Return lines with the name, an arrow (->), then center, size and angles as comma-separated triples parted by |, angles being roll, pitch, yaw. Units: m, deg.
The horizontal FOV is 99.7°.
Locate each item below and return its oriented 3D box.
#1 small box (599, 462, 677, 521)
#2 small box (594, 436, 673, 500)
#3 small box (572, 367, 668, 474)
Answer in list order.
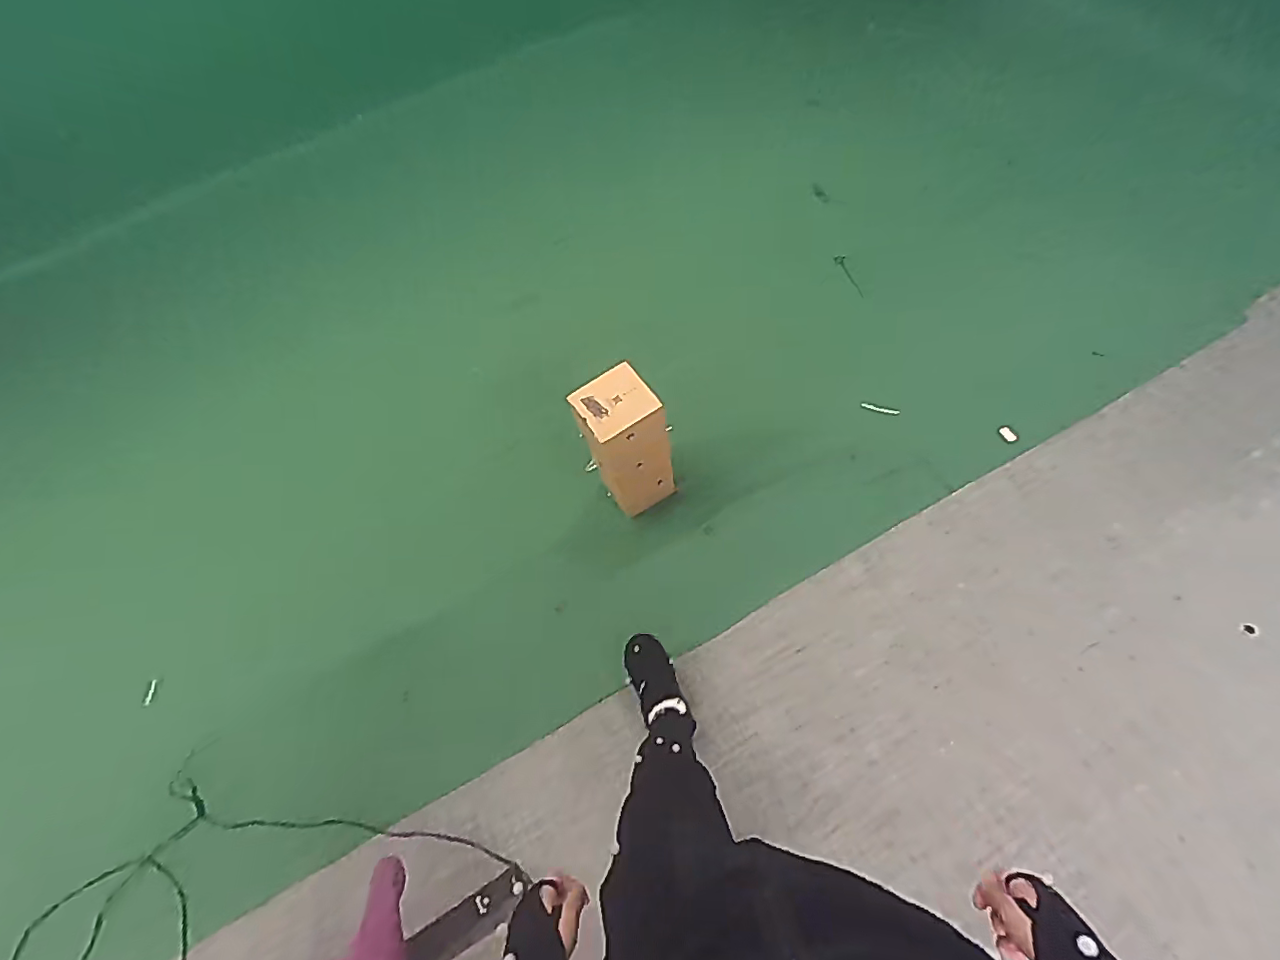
small box -> -0.001, -0.004, 1.652 | 0.179, 0.176, 0.168 | -32, 64, -9
small box -> -0.019, -0.076, 1.508 | 0.179, 0.176, 0.168 | -31, 64, -7
small box -> -0.043, -0.143, 1.360 | 0.179, 0.176, 0.168 | -32, 65, -9
